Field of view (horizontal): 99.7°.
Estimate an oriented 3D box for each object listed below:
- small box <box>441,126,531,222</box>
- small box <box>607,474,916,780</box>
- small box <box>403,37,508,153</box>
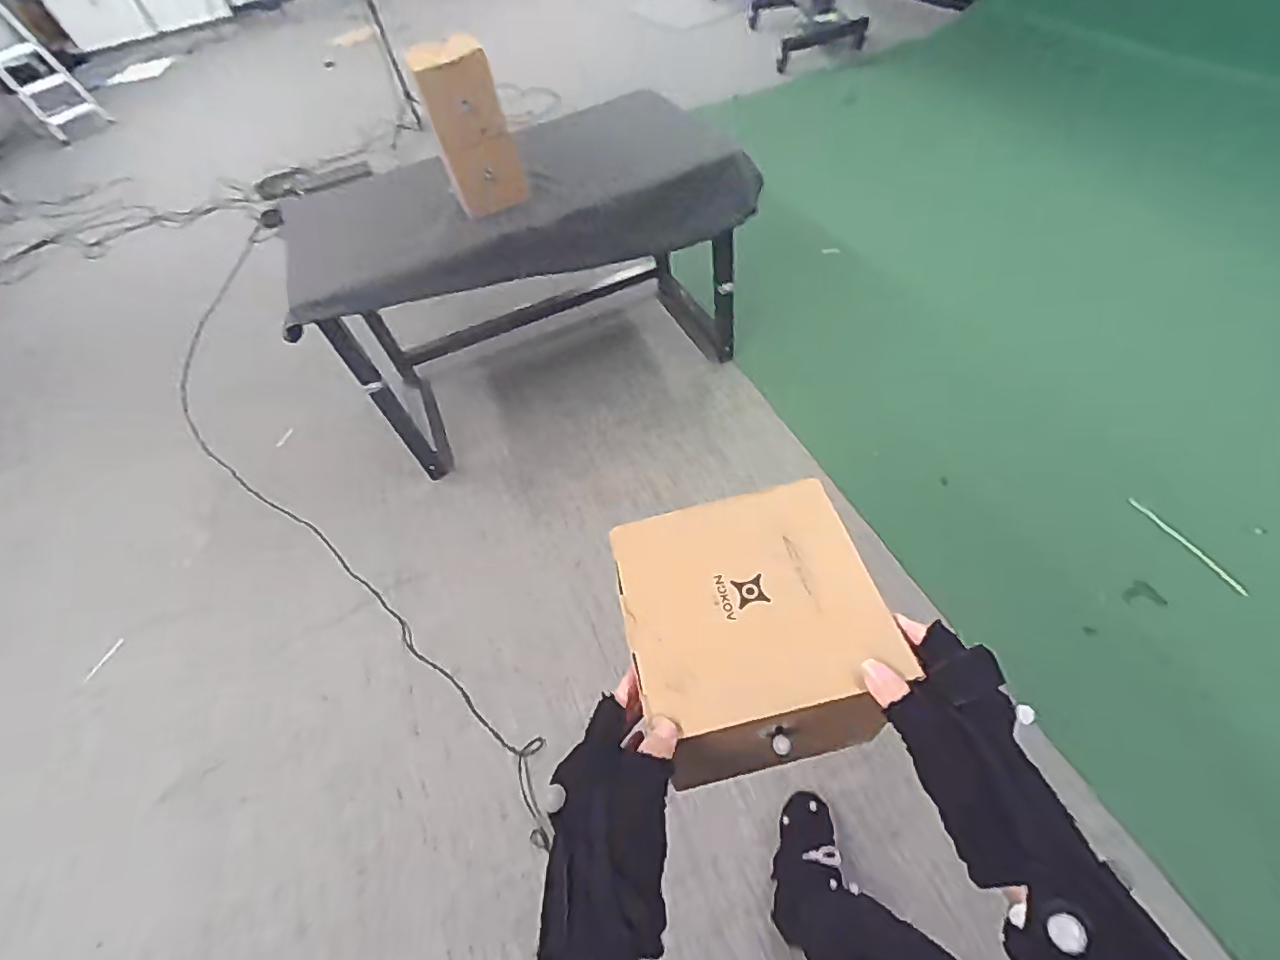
[{"bbox_3d":[-0.398,-0.804,1.403,0.179,0.176,0.168,-26,54,-12],"label":"small box"},{"bbox_3d":[0.084,0.126,0.443,0.179,0.176,0.168,-14,52,-3],"label":"small box"},{"bbox_3d":[-0.430,-0.902,1.276,0.168,0.176,0.179,-24,53,-9],"label":"small box"}]
